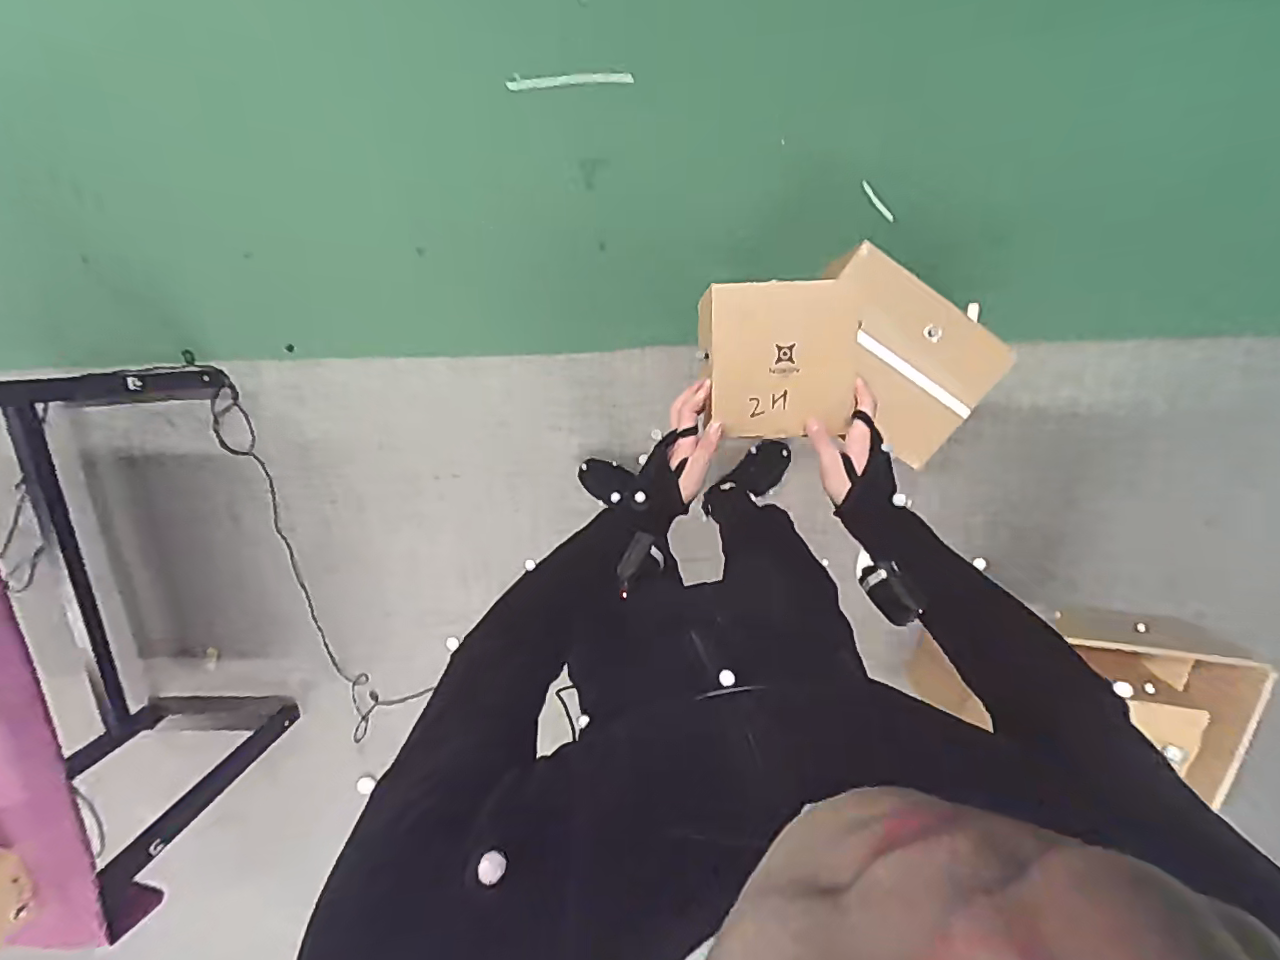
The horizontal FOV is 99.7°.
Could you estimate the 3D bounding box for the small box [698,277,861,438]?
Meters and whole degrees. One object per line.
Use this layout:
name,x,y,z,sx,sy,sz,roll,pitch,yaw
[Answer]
small box,0.163,-0.149,0.683,0.168,0.176,0.179,-2,101,2

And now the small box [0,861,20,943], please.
small box,-1.345,0.848,1.021,0.179,0.176,0.168,-1,103,5
